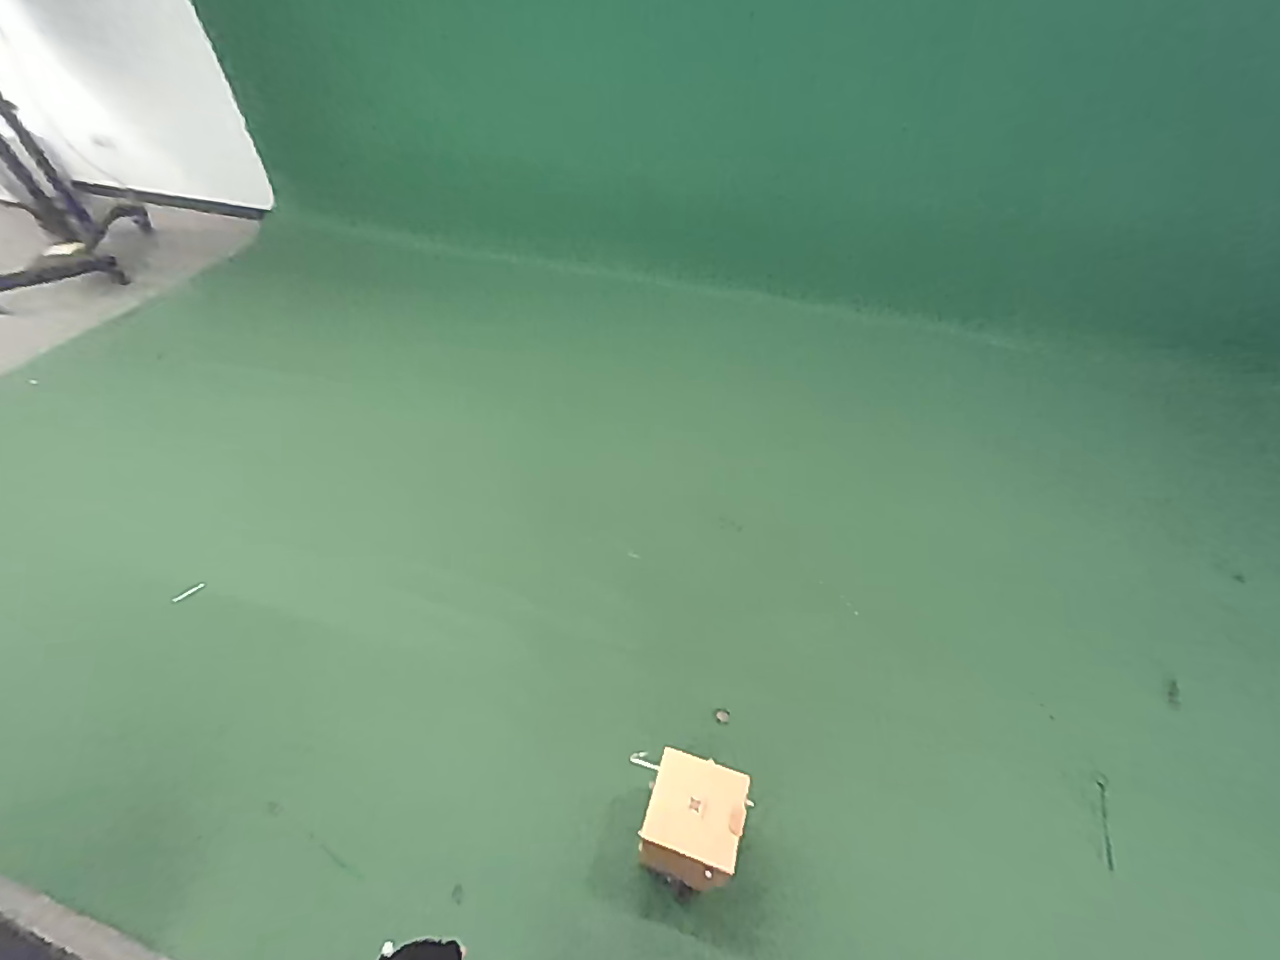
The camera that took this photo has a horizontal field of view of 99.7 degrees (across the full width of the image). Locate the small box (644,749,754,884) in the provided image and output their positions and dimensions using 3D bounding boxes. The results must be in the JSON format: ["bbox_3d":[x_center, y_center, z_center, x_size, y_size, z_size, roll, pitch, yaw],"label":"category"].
[{"bbox_3d":[0.113,0.666,1.067,0.179,0.176,0.168,14,49,12],"label":"small box"}]
